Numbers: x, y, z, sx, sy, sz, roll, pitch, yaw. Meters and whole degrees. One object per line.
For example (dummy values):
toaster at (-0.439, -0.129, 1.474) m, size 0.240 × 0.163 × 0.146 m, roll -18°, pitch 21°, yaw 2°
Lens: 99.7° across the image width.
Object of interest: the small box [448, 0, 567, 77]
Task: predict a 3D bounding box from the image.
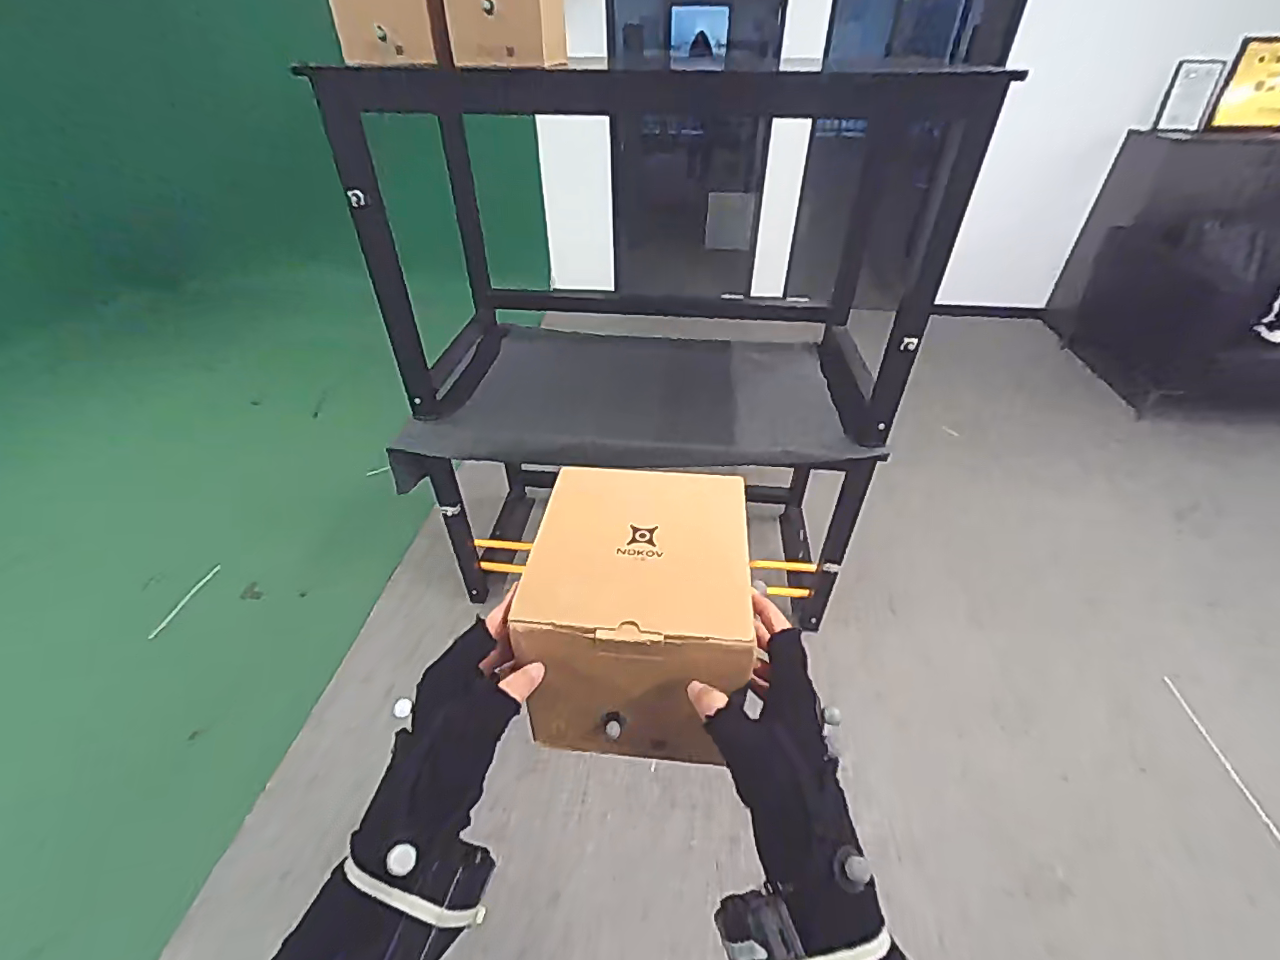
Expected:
small box at (-0.230, -0.826, 0.965) m, size 0.168 × 0.176 × 0.179 m, roll 5°, pitch 39°, yaw 5°
